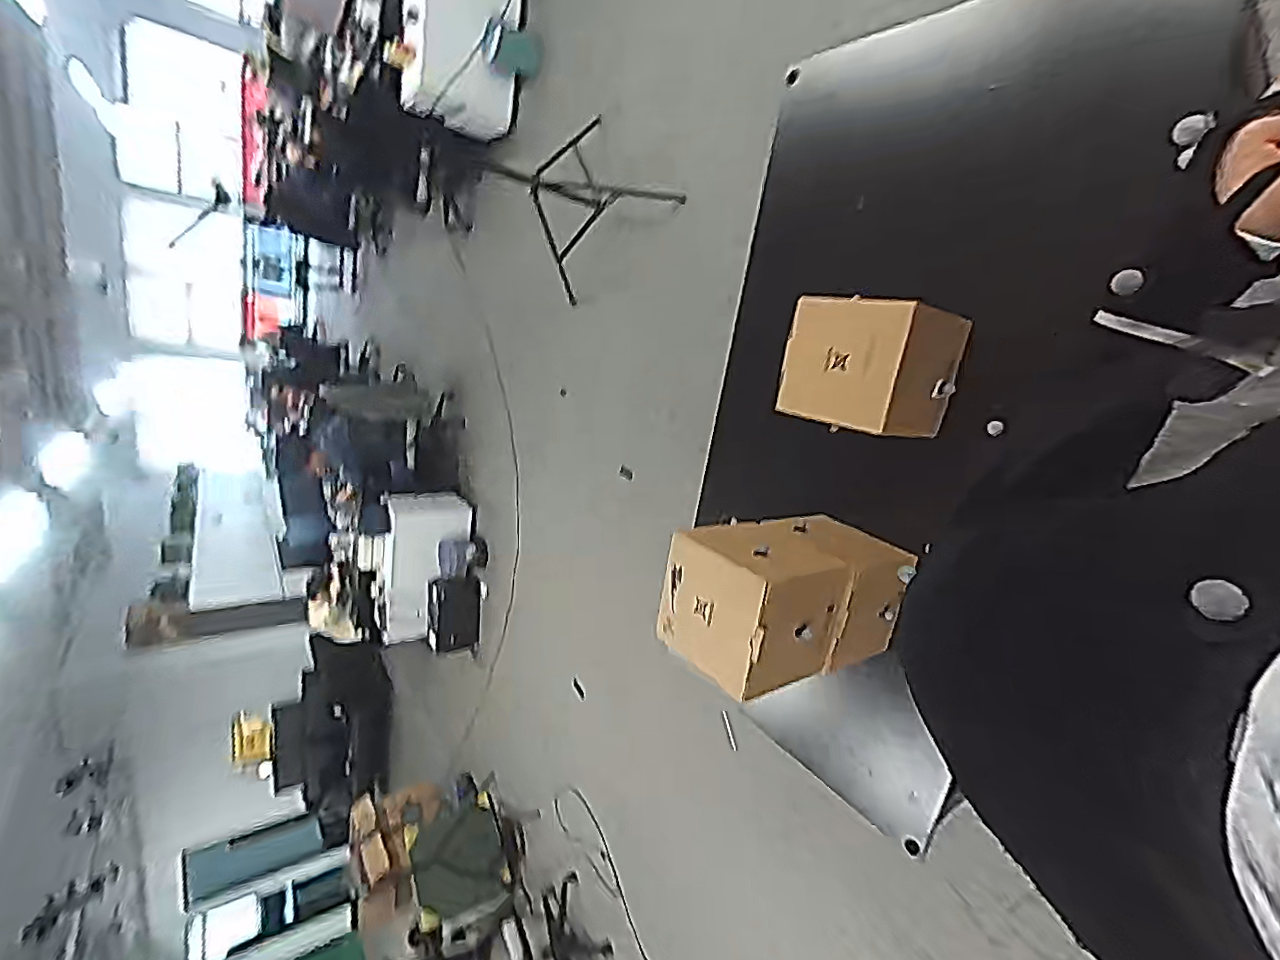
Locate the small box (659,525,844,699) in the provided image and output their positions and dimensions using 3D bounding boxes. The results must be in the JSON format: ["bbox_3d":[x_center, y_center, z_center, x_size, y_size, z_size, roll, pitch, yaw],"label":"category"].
[{"bbox_3d":[0.154,0.167,0.755,0.179,0.176,0.168,24,110,49],"label":"small box"}]

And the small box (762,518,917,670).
[{"bbox_3d":[0.291,0.164,0.846,0.179,0.176,0.168,29,114,49],"label":"small box"}]

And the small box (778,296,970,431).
[{"bbox_3d":[0.334,-0.166,0.782,0.179,0.176,0.168,25,112,49],"label":"small box"}]
